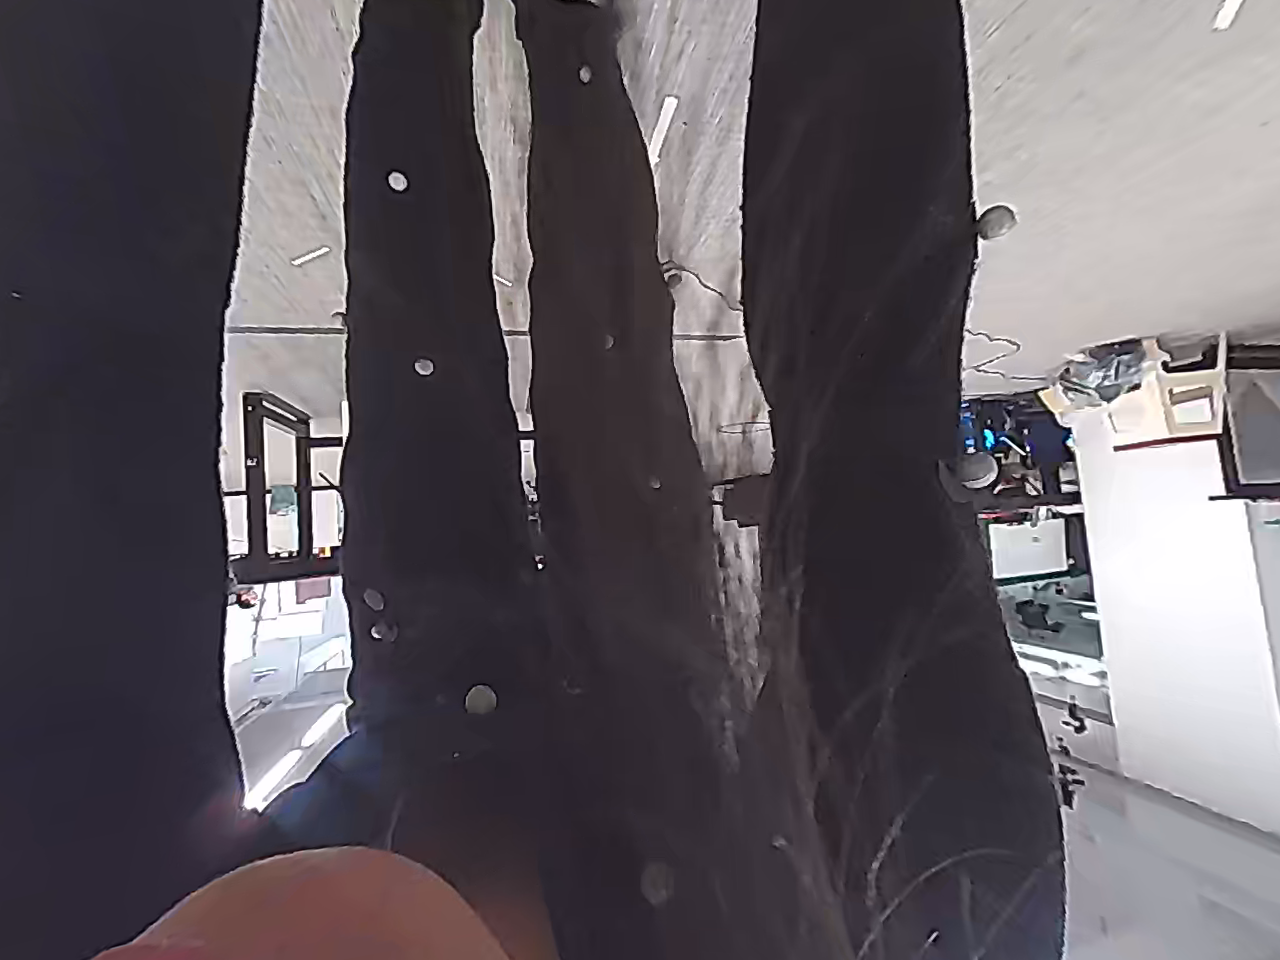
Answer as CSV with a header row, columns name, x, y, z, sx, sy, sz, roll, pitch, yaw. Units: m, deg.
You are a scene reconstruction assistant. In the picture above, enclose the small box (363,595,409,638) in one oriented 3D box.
name,x,y,z,sx,sy,sz,roll,pitch,yaw
small box,-1.185,0.628,2.526,0.179,0.176,0.168,-4,175,-20
